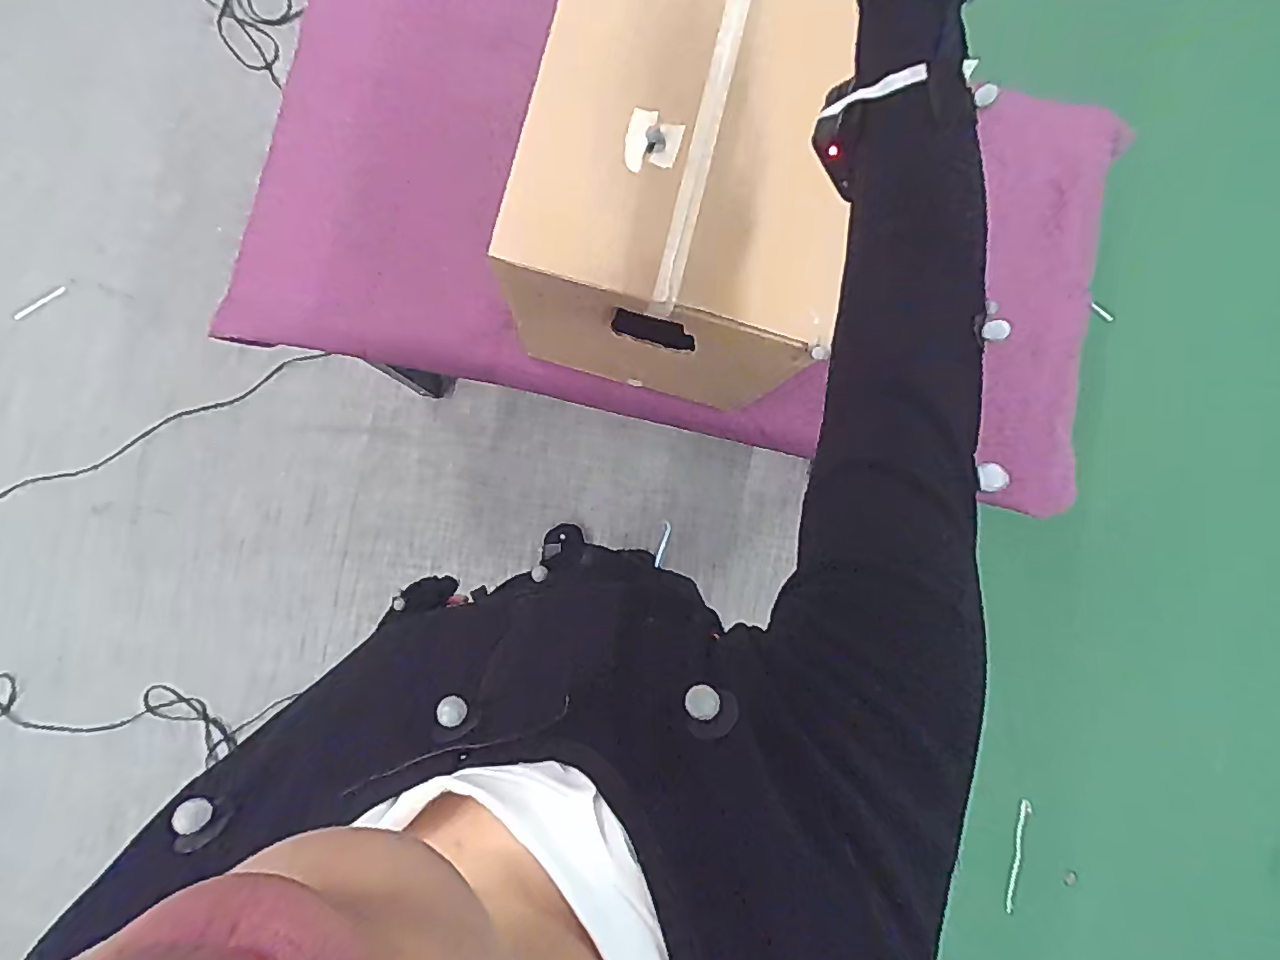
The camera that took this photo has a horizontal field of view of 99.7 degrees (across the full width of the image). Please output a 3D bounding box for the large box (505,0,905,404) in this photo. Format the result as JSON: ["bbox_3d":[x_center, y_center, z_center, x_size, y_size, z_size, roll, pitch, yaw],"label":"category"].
[{"bbox_3d":[0.056,-0.344,0.652,0.320,0.320,0.408,15,87,-4],"label":"large box"}]
